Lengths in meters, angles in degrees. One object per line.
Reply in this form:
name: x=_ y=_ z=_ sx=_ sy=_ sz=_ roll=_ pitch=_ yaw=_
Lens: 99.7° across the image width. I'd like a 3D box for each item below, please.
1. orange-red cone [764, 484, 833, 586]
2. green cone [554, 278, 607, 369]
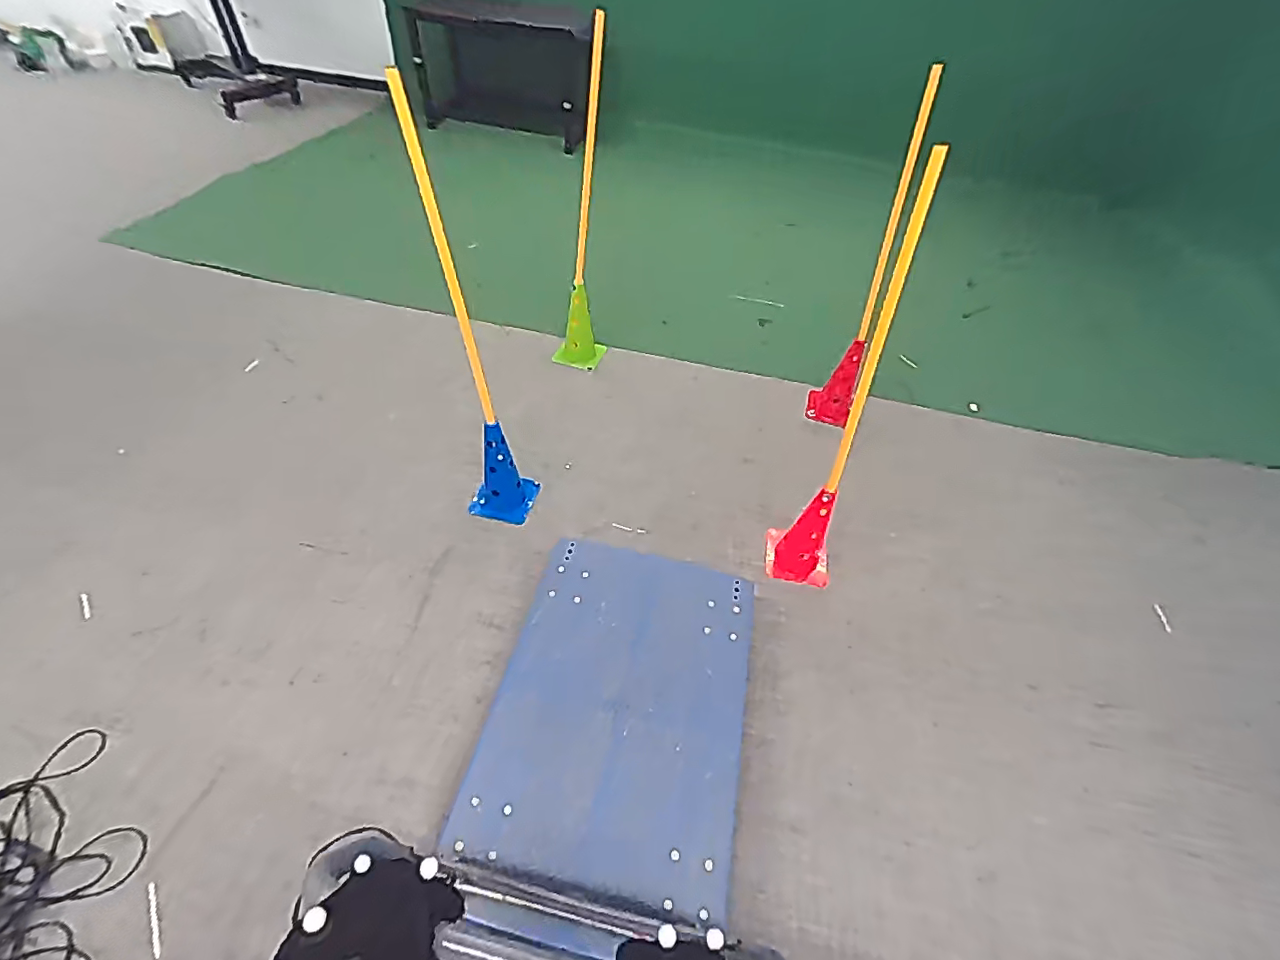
orange-red cone: x=0.525 y=0.145 z=1.684 sx=0.199 sy=0.360 sz=0.198 roll=11 pitch=48 yaw=6
green cone: x=-0.259 y=-0.694 z=2.335 sx=0.202 sy=0.368 sz=0.200 roll=16 pitch=49 yaw=9
